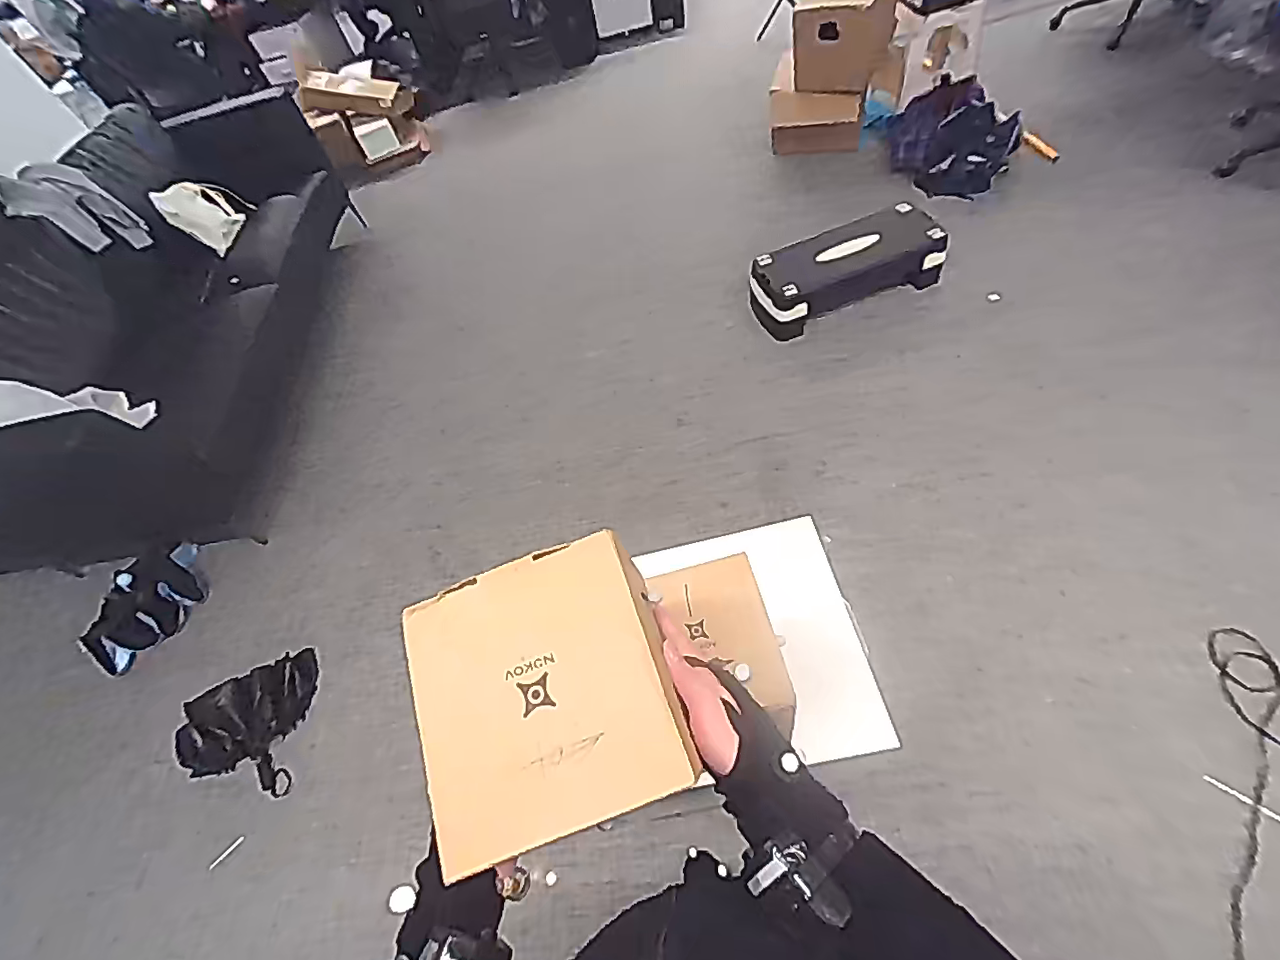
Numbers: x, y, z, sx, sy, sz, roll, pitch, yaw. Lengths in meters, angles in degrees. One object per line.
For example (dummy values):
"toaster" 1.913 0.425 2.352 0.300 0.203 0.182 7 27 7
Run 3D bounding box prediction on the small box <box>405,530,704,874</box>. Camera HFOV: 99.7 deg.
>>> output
"small box" -0.057 0.168 0.433 0.168 0.176 0.179 -22 66 0

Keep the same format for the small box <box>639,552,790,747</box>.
"small box" 0.076 0.219 0.662 0.168 0.176 0.179 -16 53 2

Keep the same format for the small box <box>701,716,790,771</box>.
"small box" 0.109 0.311 0.796 0.168 0.176 0.179 -17 54 2
